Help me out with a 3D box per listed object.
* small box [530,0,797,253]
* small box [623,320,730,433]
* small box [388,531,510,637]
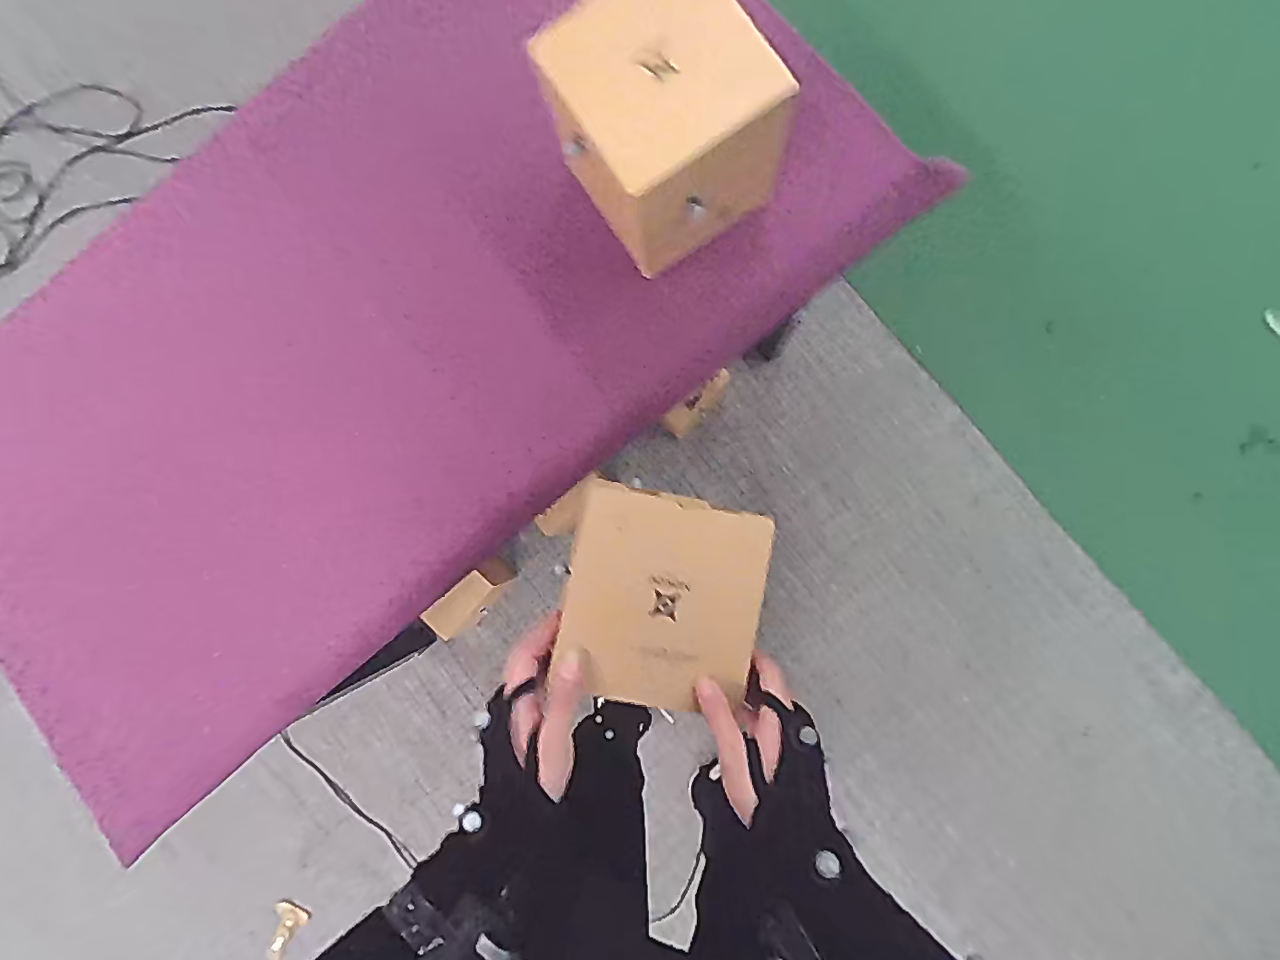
[{"bbox_3d":[0.026,-0.354,0.530,0.168,0.176,0.179,-33,83,3],"label":"small box"},{"bbox_3d":[0.083,-0.228,1.247,0.179,0.176,0.168,45,91,6],"label":"small box"},{"bbox_3d":[-0.435,0.231,1.263,0.179,0.176,0.168,43,91,6],"label":"small box"}]
